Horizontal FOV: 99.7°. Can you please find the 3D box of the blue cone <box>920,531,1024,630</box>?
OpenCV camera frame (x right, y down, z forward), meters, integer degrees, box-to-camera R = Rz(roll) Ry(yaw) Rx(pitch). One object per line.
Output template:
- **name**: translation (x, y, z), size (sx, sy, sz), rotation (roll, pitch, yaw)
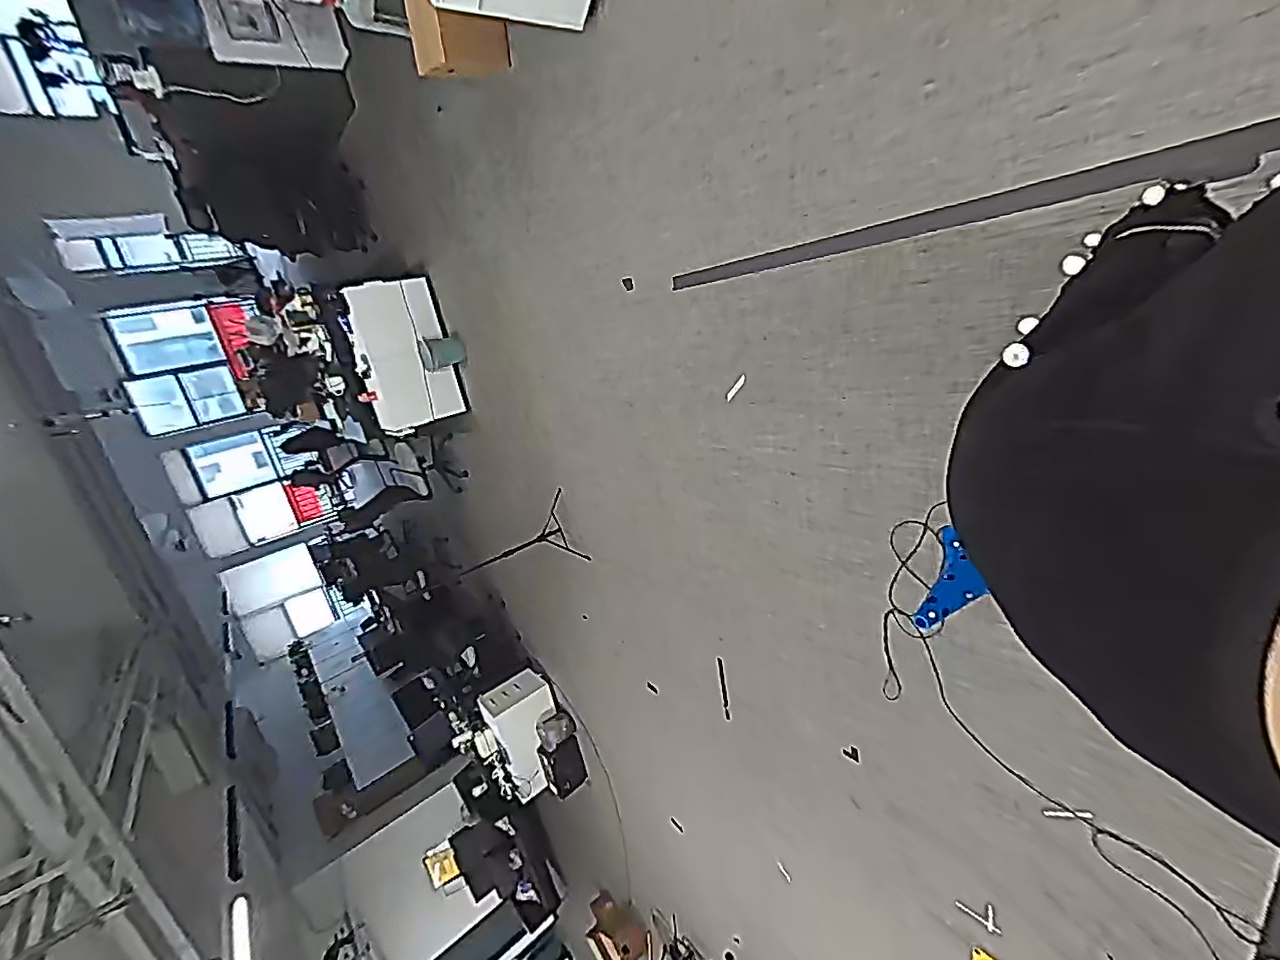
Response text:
- **blue cone**: translation (0.838, 0.288, 1.428), size (0.192, 0.380, 0.193), rotation (5, 114, 53)
